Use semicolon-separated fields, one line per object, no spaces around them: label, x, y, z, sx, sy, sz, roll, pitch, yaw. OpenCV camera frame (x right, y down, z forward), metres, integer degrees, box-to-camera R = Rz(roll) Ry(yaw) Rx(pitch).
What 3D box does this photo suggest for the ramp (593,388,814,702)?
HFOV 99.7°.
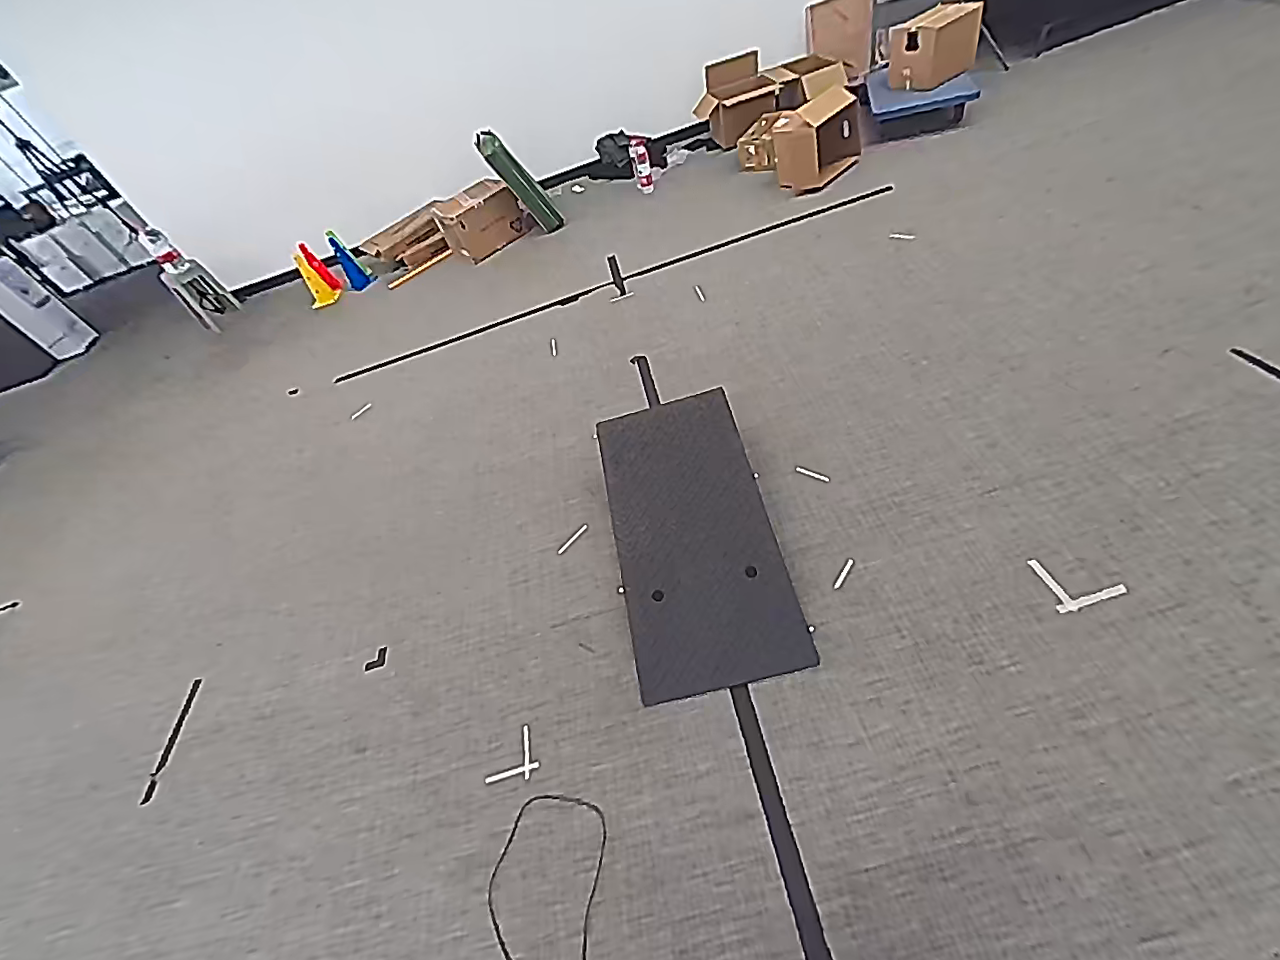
ramp;0.149;0.139;1.725;0.509;0.206;0.991;-17;47;3
